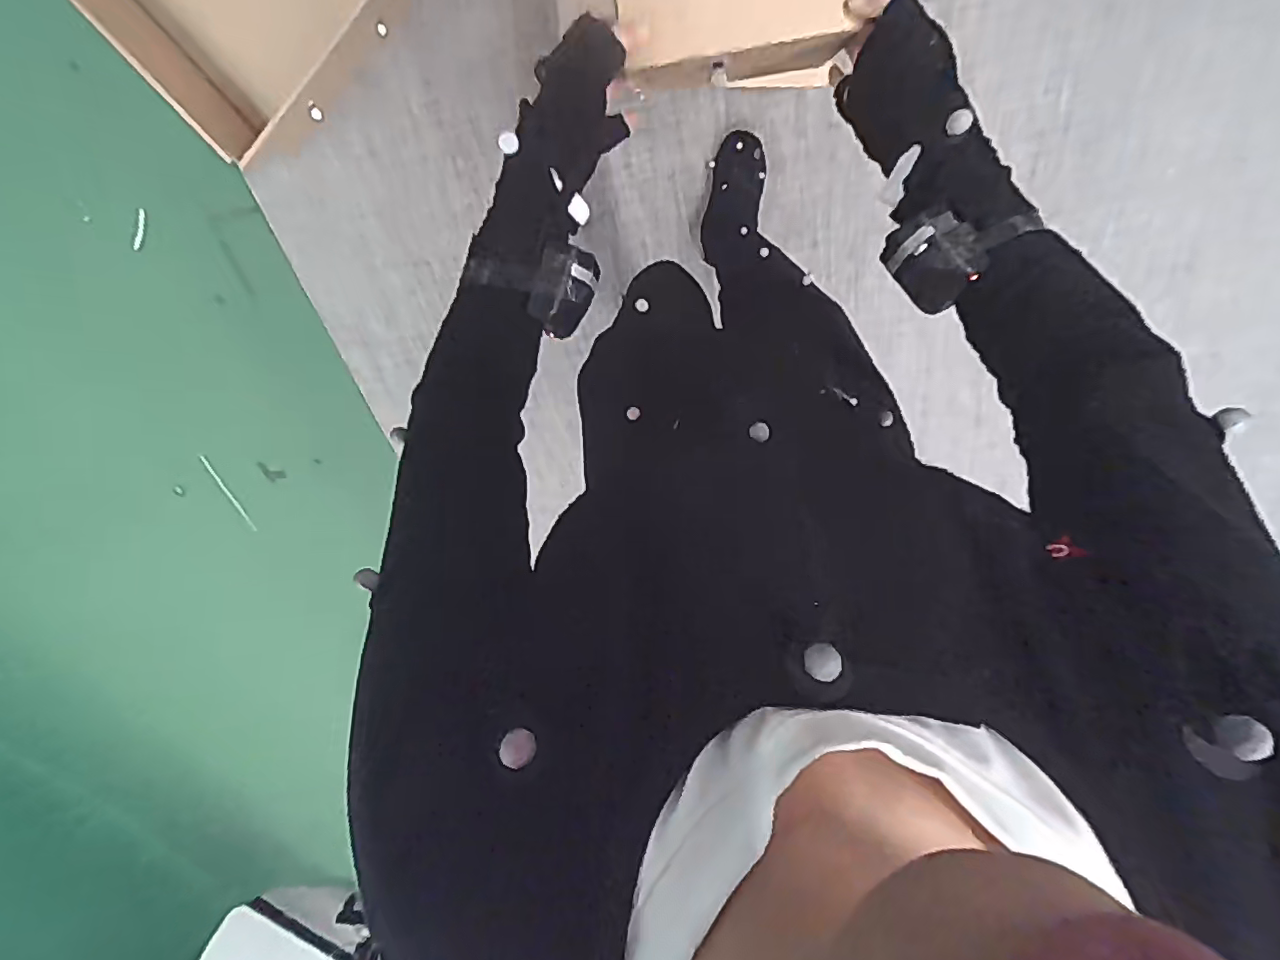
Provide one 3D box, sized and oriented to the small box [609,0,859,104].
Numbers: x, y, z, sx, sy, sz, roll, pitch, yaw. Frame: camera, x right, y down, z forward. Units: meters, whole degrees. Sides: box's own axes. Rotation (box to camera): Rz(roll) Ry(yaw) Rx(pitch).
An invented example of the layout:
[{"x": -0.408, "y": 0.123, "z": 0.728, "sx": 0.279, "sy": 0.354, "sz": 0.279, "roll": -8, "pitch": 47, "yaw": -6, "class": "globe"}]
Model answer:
[{"x": 0.071, "y": -0.416, "z": 0.428, "sx": 0.179, "sy": 0.176, "sz": 0.168, "roll": -3, "pitch": 119, "yaw": 11, "class": "small box"}]
